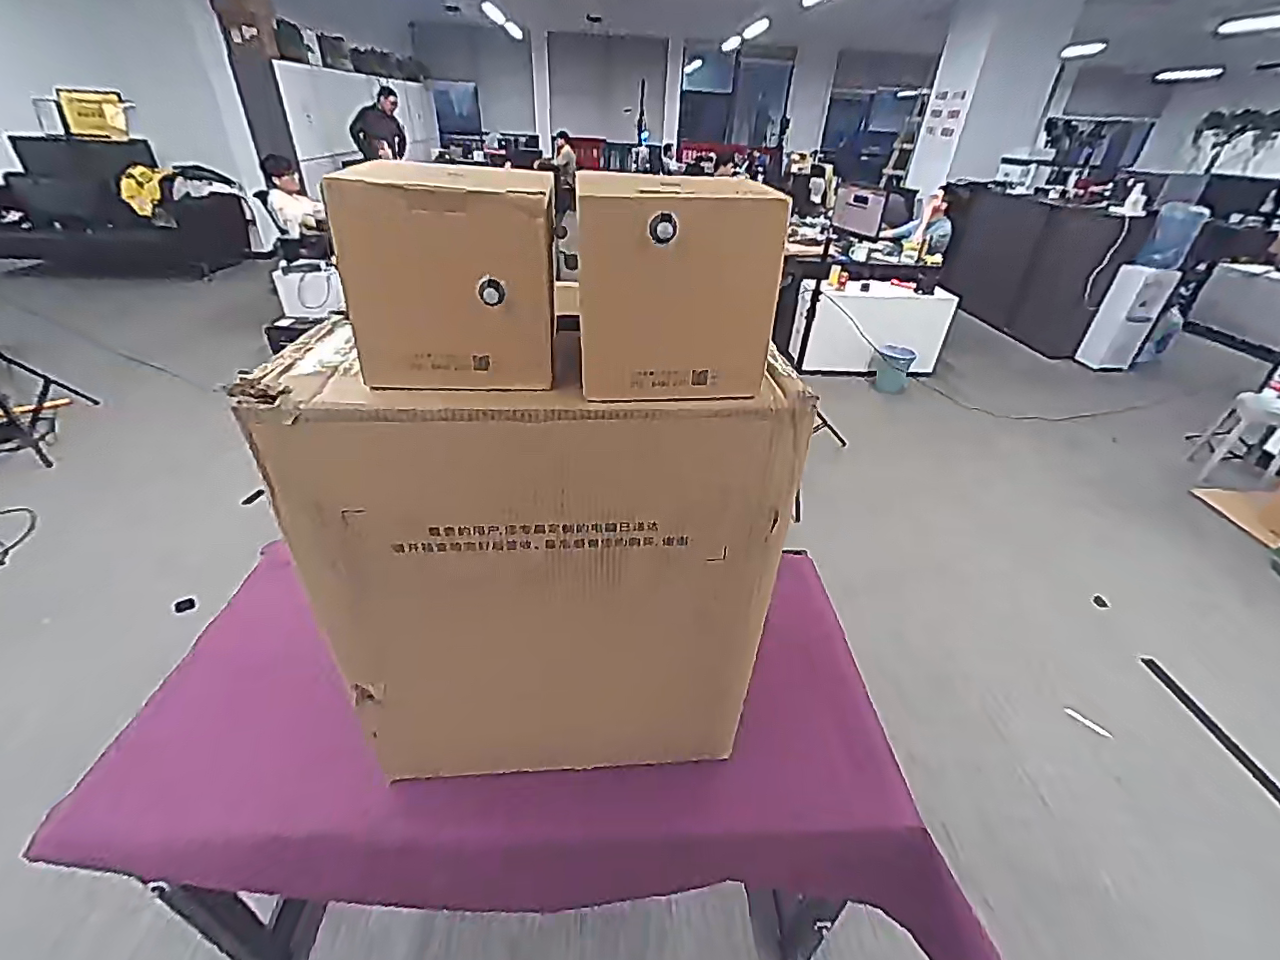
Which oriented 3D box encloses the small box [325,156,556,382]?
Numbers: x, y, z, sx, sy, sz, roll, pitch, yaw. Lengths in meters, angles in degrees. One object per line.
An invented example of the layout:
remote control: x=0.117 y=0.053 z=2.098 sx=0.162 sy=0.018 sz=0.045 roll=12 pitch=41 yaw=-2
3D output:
small box: x=-0.165 y=-0.201 z=0.515 sx=0.168 sy=0.176 sz=0.179 roll=1 pitch=32 yaw=-9

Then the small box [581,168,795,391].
small box: x=0.027 y=-0.194 z=0.516 sx=0.168 sy=0.176 sz=0.179 roll=-2 pitch=33 yaw=-6
